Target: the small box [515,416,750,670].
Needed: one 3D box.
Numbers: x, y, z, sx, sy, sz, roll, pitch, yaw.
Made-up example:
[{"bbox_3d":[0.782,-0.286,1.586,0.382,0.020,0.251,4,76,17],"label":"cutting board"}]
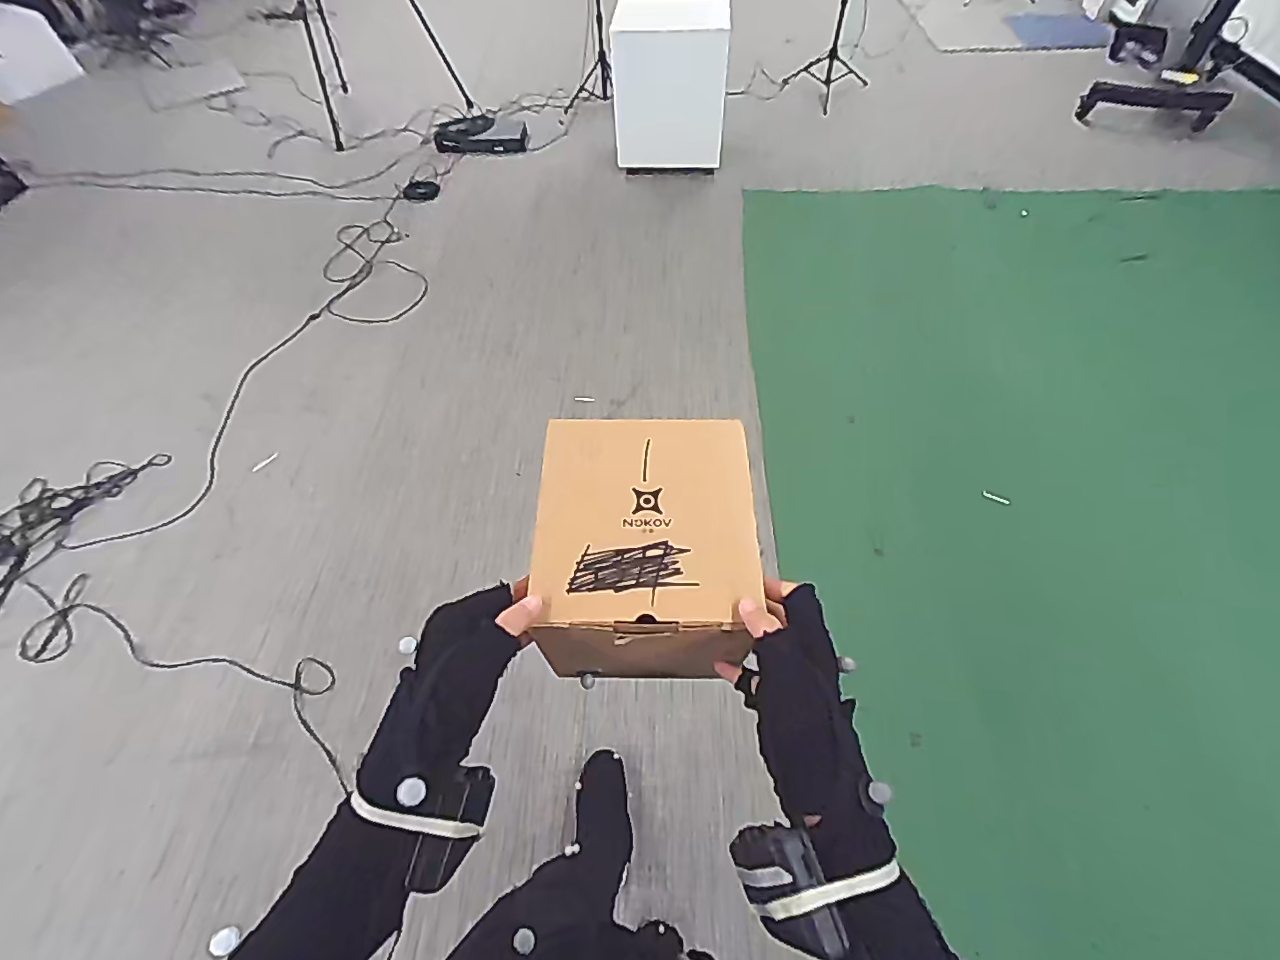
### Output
[{"bbox_3d":[-0.002,0.063,0.478,0.168,0.176,0.179,1,57,1],"label":"small box"}]
